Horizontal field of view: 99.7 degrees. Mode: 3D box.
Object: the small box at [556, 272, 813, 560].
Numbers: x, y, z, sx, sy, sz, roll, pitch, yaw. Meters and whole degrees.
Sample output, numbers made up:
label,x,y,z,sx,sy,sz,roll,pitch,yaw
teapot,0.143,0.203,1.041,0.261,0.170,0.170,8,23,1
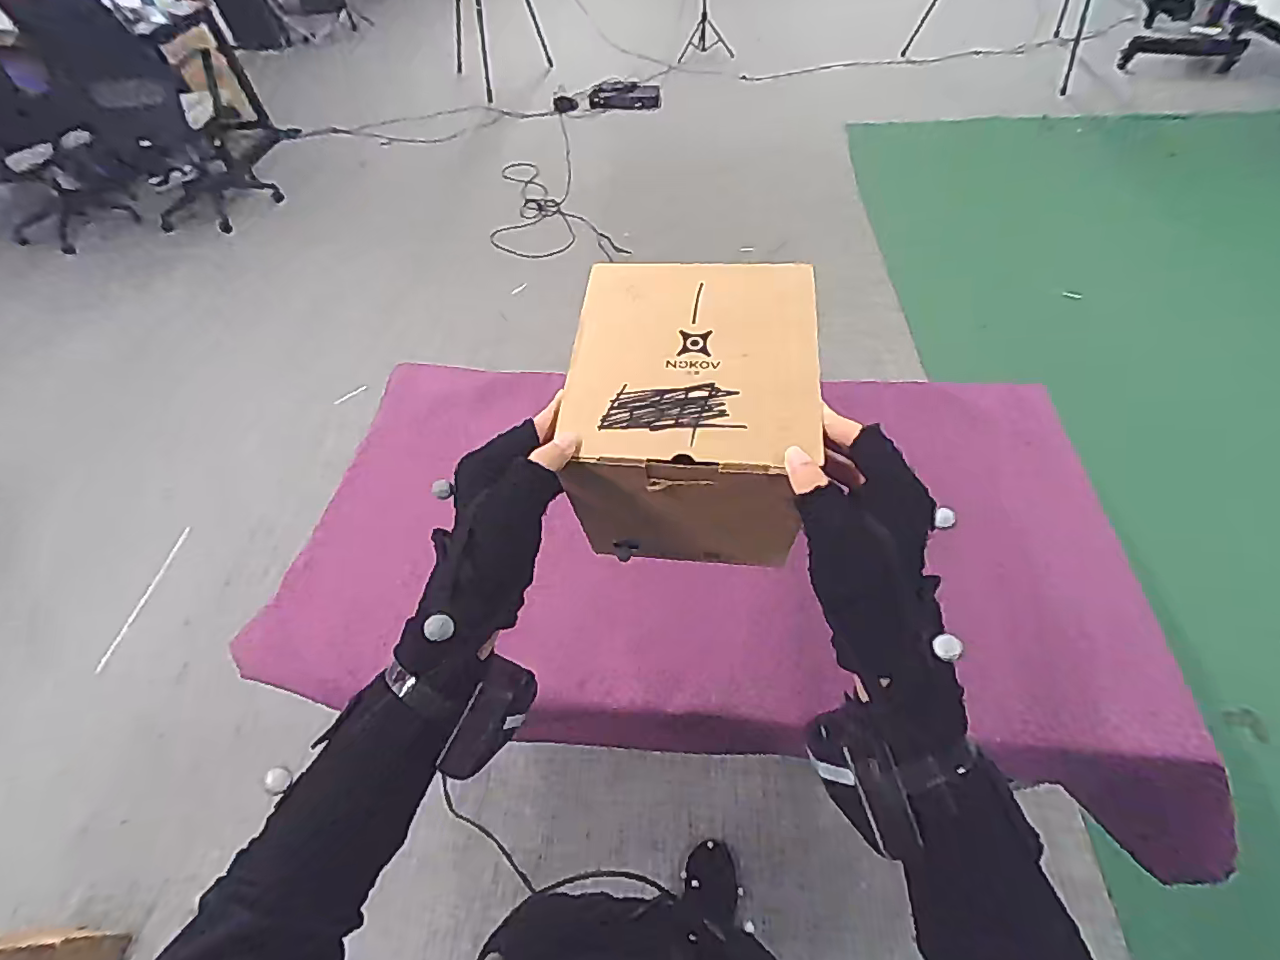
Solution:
label,x,y,z,sx,sy,sz,roll,pitch,yaw
small box,0.043,-0.044,0.445,0.168,0.176,0.179,3,61,8
